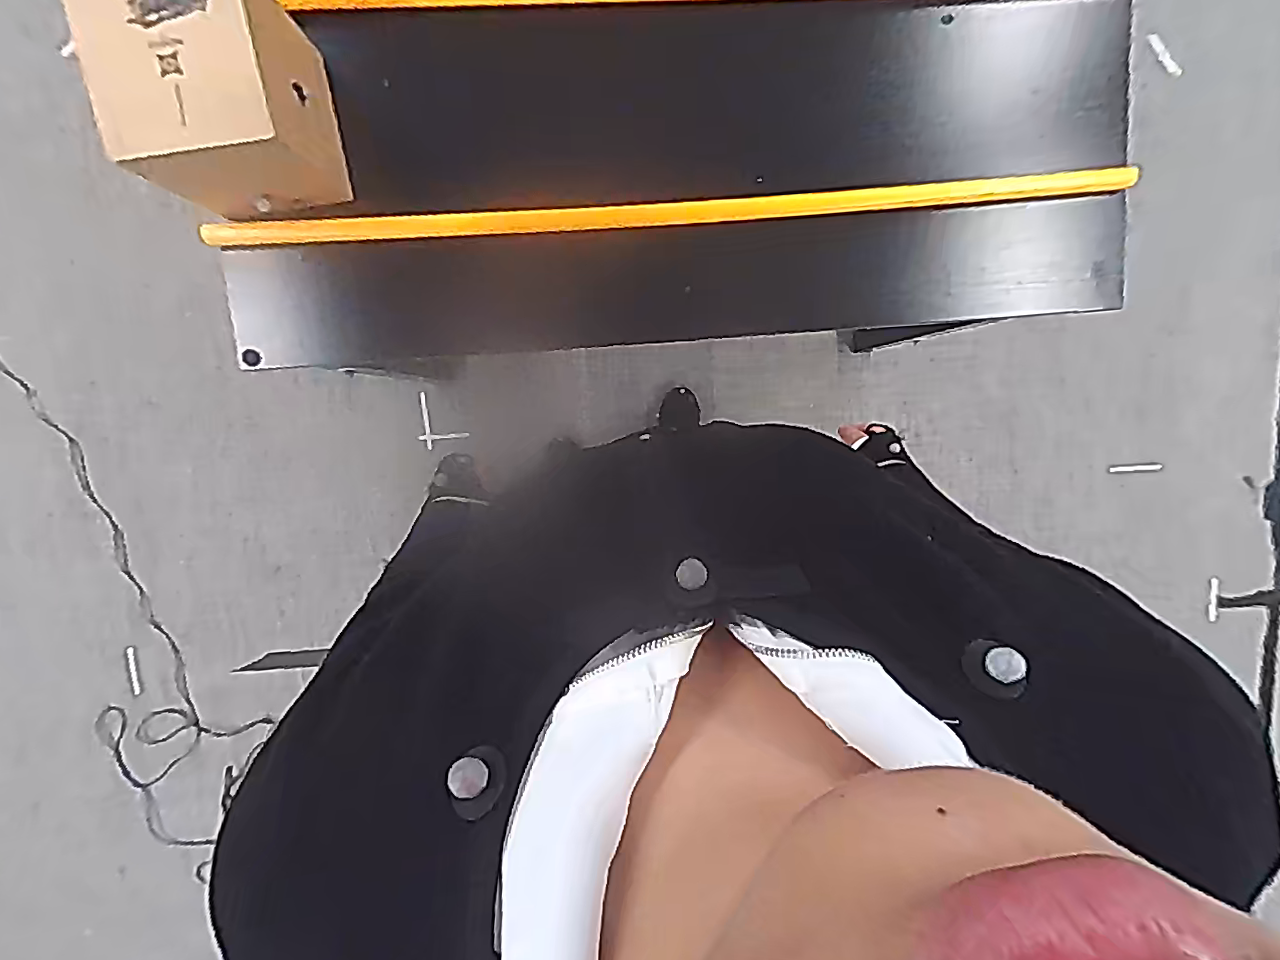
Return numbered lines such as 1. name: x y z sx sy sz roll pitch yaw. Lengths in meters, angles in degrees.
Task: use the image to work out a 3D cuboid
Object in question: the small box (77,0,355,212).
1. small box: -0.451 -0.428 0.602 0.168 0.176 0.179 -10 99 -2
